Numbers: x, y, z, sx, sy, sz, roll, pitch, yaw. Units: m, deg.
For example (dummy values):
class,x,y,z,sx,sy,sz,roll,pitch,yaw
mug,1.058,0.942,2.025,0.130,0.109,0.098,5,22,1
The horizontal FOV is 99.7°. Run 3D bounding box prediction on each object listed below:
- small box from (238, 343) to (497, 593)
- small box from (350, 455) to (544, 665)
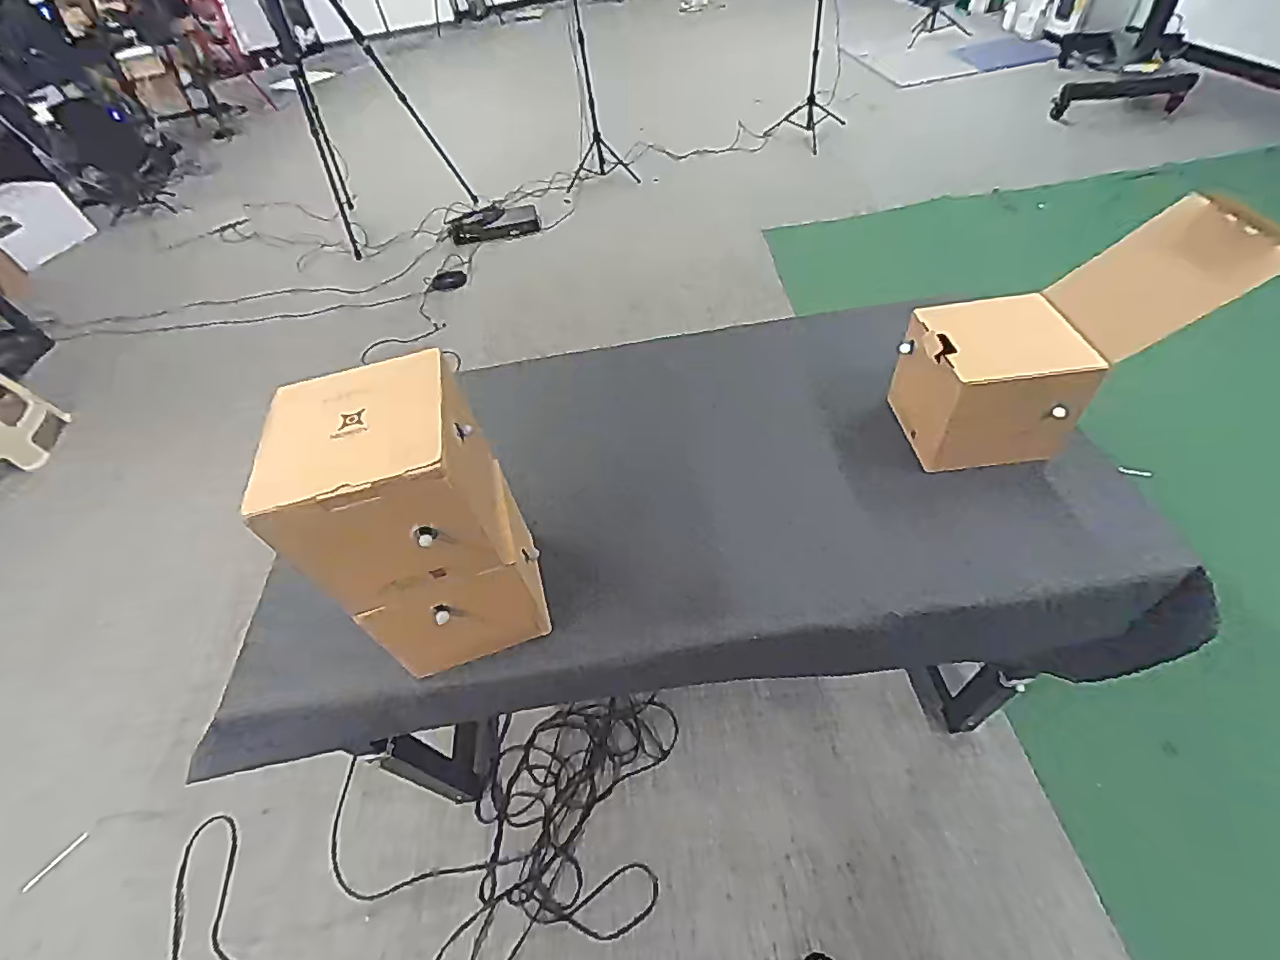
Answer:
class,x,y,z,sx,sy,sz,roll,pitch,yaw
small box,-0.253,-0.005,0.548,0.168,0.176,0.179,-15,48,-5
small box,-0.227,0.101,0.669,0.179,0.176,0.168,-18,49,-6
